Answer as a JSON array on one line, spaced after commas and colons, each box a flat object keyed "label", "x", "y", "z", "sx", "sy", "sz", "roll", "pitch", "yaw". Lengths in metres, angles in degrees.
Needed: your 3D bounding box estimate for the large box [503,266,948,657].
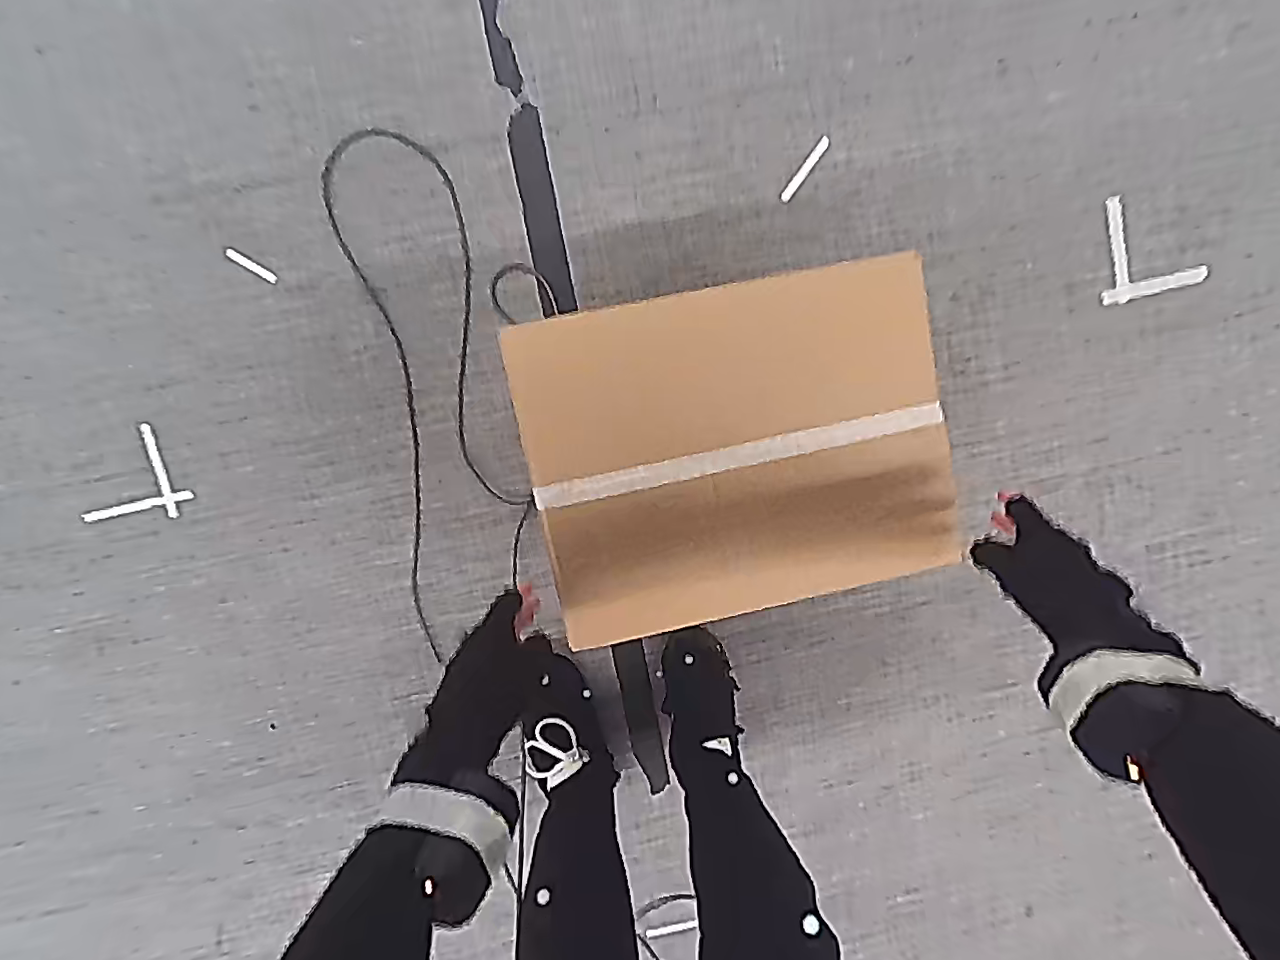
[{"label": "large box", "x": 0.084, "y": -0.033, "z": 0.674, "sx": 0.408, "sy": 0.320, "sz": 0.320, "roll": -13, "pitch": 96, "yaw": -4}]
